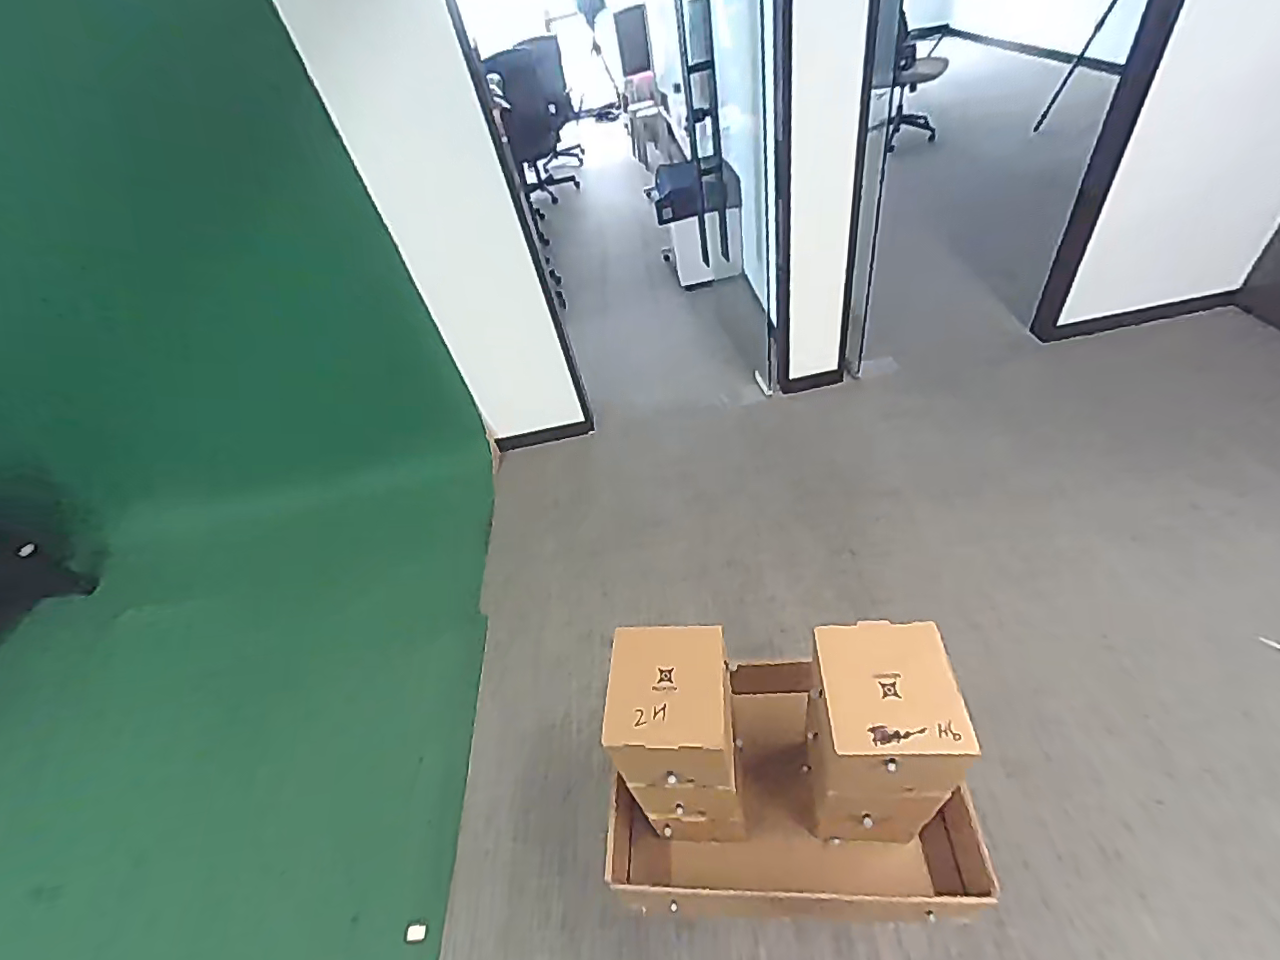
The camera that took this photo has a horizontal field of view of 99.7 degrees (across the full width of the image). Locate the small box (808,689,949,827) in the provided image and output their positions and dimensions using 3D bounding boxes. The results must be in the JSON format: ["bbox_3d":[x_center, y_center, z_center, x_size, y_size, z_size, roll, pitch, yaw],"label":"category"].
[{"bbox_3d":[0.369,0.437,0.873,0.168,0.176,0.179,-5,46,11],"label":"small box"}]

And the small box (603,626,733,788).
[{"bbox_3d":[0.051,0.340,0.817,0.168,0.176,0.179,-4,46,12],"label":"small box"}]

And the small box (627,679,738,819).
[{"bbox_3d":[0.081,0.458,0.929,0.168,0.176,0.179,-4,46,11],"label":"small box"}]

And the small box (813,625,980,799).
[{"bbox_3d":[0.340,0.323,0.759,0.168,0.176,0.179,-5,45,11],"label":"small box"}]

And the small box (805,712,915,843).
[{"bbox_3d":[0.398,0.546,0.990,0.168,0.176,0.179,-4,45,11],"label":"small box"}]
